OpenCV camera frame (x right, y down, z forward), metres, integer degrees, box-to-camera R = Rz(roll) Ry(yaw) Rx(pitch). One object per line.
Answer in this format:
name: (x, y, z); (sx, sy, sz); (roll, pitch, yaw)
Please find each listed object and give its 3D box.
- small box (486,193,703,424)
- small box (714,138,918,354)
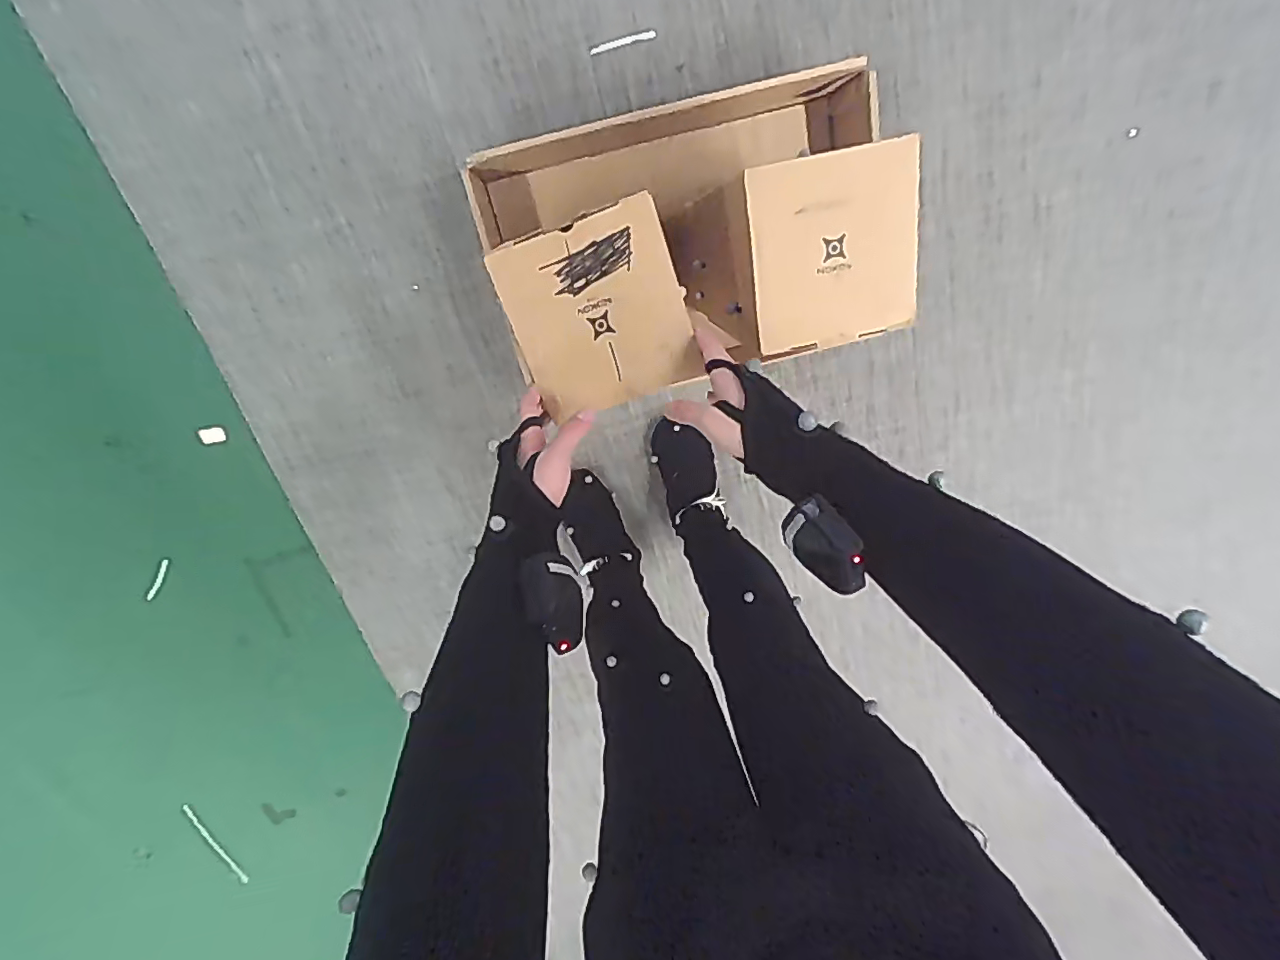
small box: (-0.045, -0.181, 0.596); (0.168, 0.176, 0.179); (-20, 107, 3)
small box: (0.184, -0.254, 0.602); (0.168, 0.176, 0.179); (-10, 113, 1)
